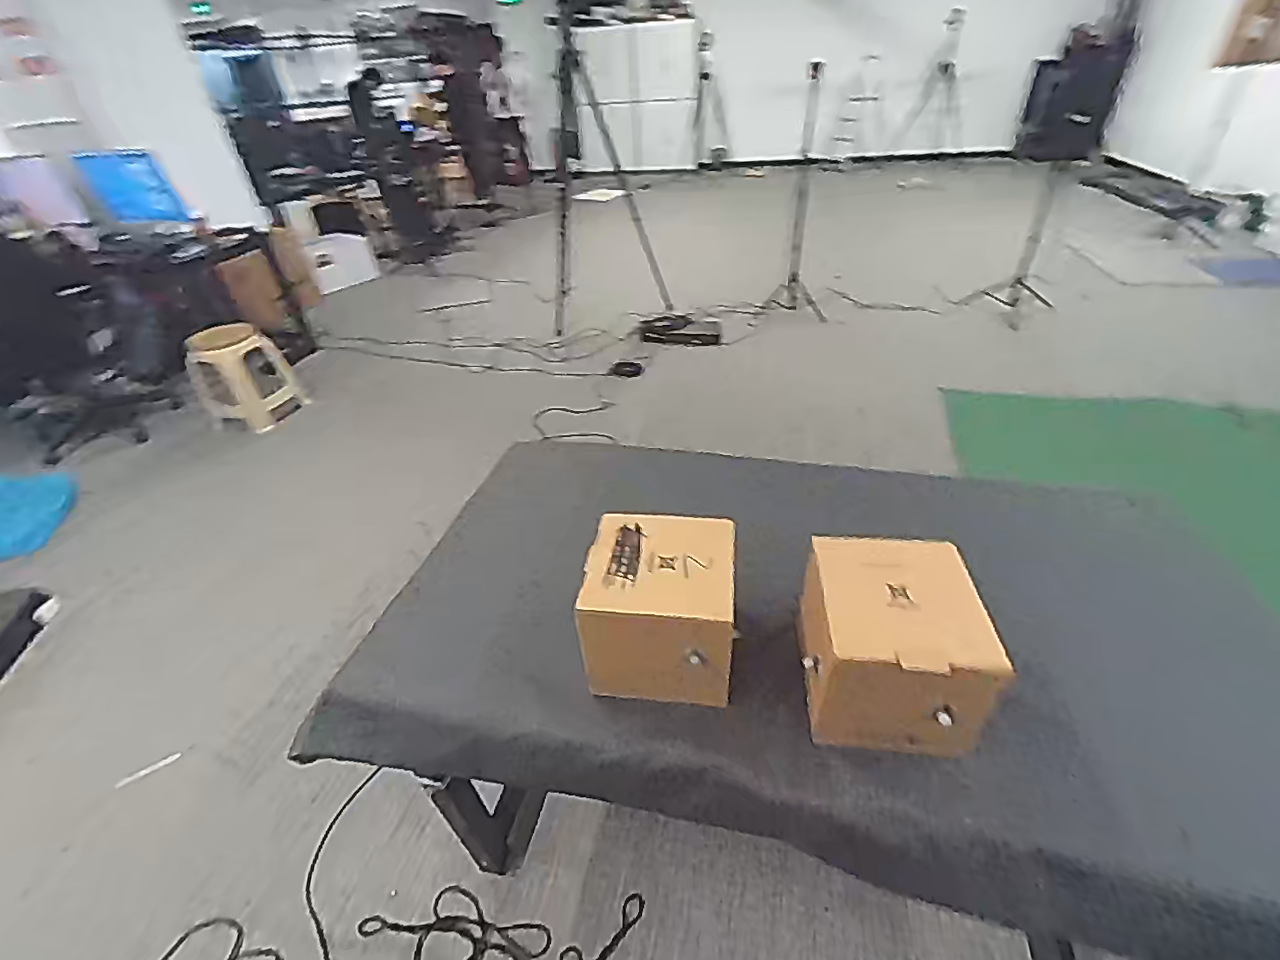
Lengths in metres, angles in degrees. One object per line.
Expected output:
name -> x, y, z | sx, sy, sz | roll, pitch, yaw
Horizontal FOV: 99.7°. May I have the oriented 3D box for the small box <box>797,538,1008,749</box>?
small box -> 0.286, 0.189, 0.636 | 0.168, 0.176, 0.179 | 2, 36, 7
